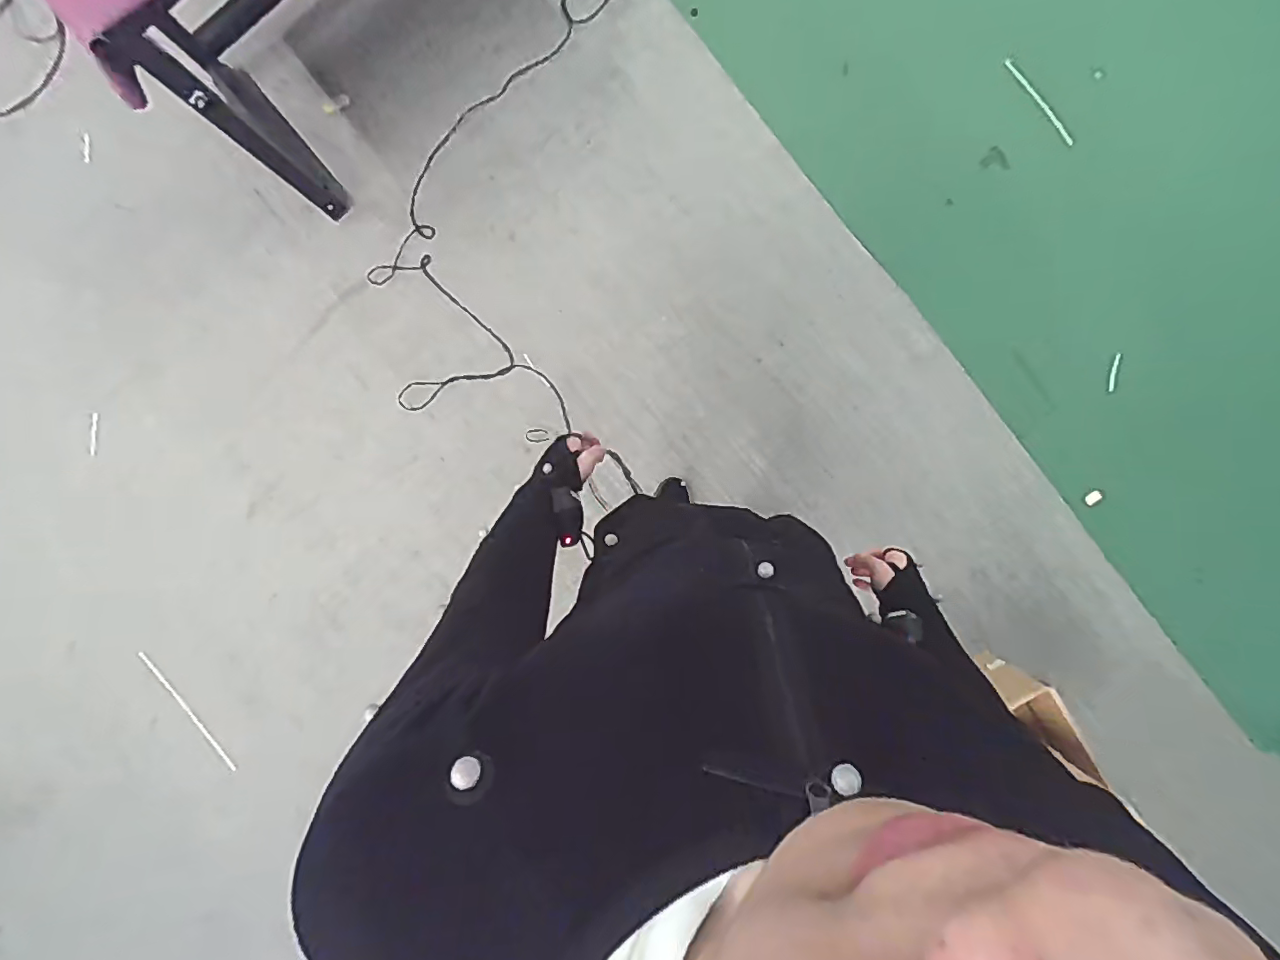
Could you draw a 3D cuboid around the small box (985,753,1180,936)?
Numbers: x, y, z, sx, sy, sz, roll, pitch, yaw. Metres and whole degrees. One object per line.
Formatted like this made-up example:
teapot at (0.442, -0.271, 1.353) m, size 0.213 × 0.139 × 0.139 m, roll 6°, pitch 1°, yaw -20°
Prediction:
small box at (0.774, 0.636, 0.966) m, size 0.168 × 0.176 × 0.179 m, roll -33°, pitch 90°, yaw 2°
